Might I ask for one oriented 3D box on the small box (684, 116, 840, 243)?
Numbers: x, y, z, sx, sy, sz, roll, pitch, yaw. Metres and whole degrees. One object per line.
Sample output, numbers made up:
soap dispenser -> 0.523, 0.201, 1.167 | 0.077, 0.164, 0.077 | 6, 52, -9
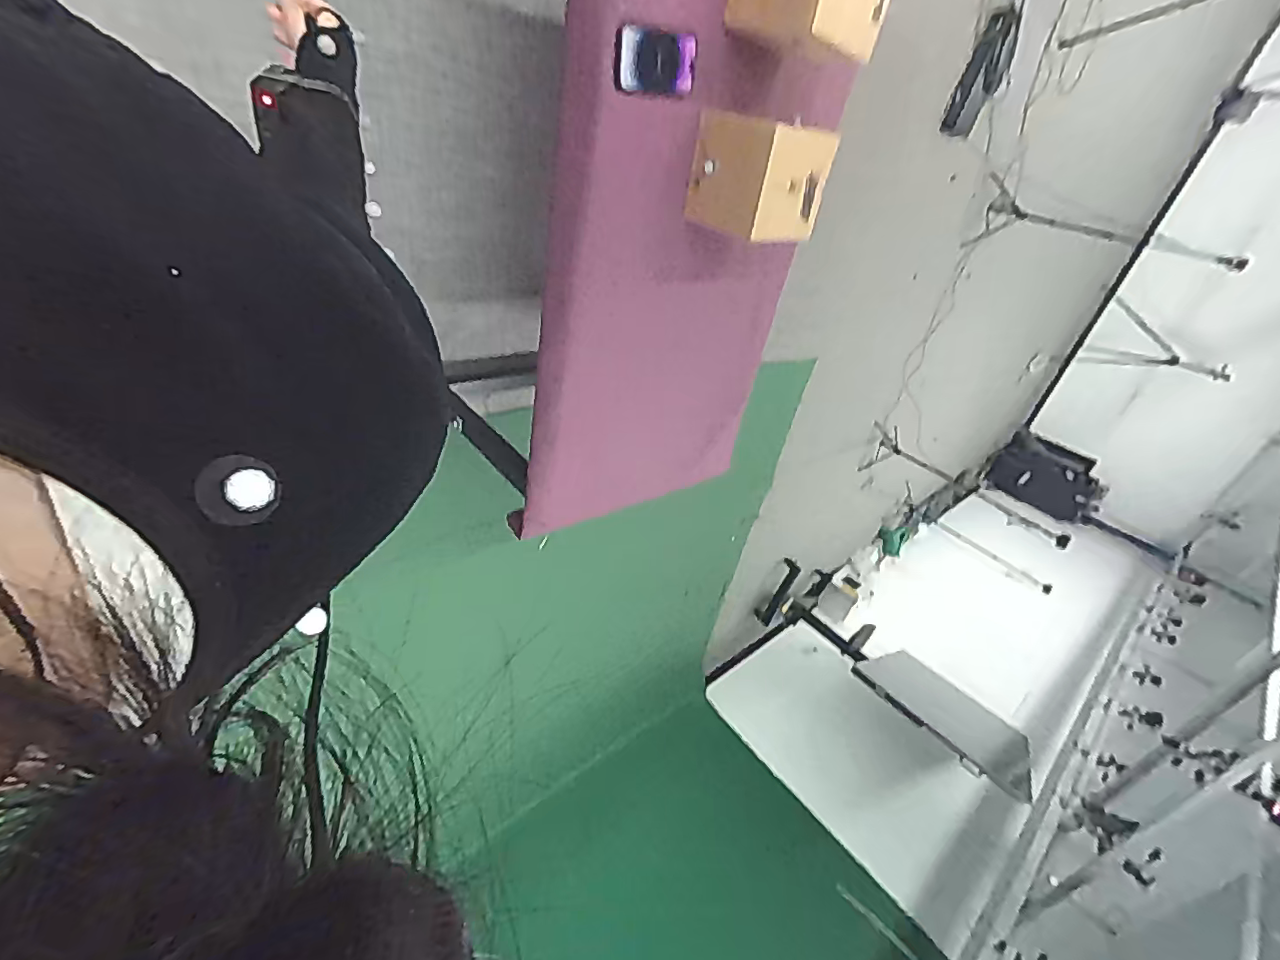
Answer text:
small box -> 0.206, -0.521, 0.943 | 0.179, 0.176, 0.168 | -19, 134, -36

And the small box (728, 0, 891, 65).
small box -> 0.260, -0.744, 0.804 | 0.179, 0.176, 0.168 | -14, 131, -39
